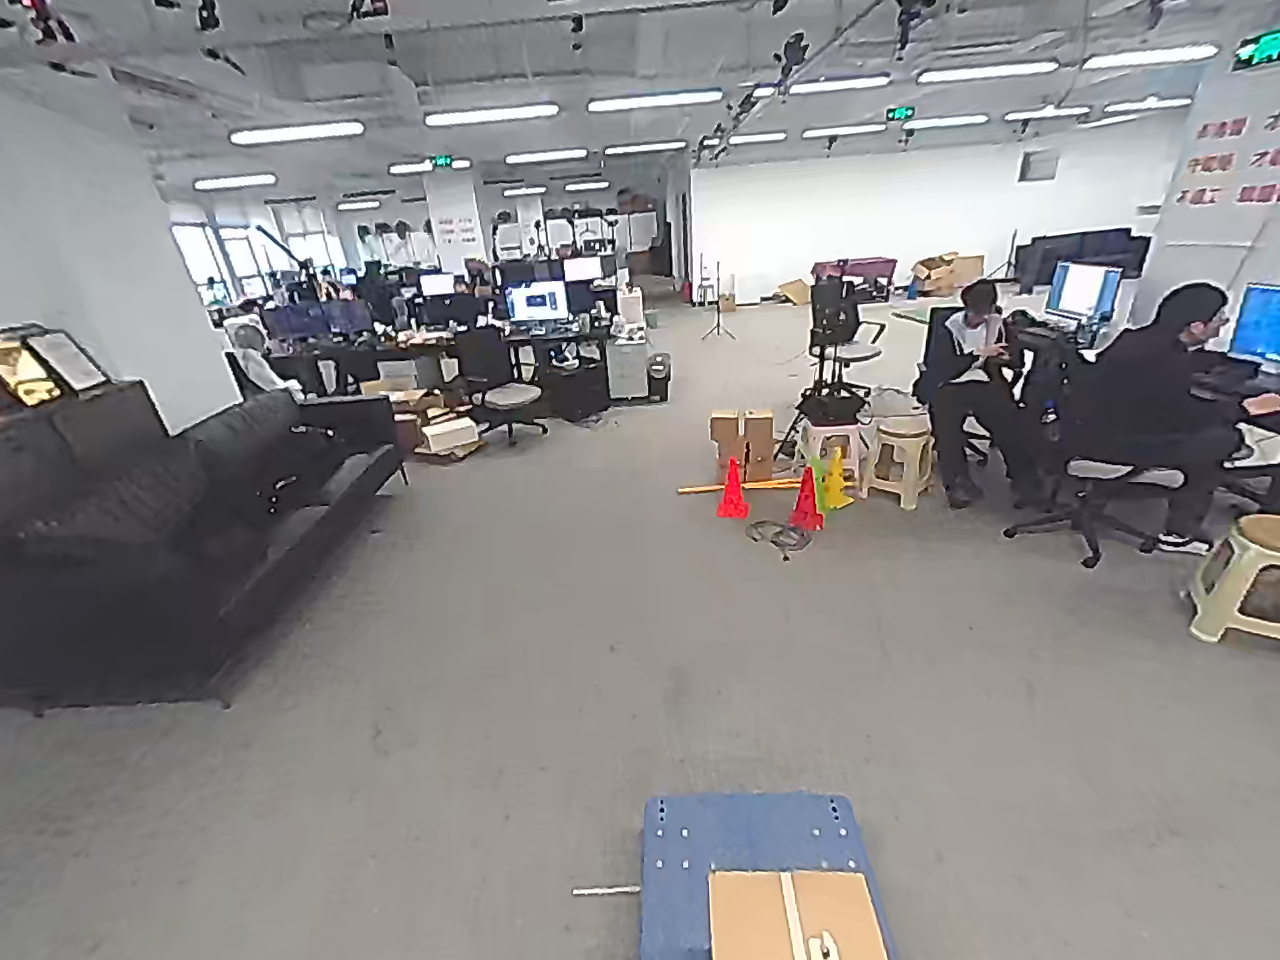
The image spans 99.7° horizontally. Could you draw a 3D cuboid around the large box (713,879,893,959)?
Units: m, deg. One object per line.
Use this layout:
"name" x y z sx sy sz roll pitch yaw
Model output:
"large box" 0.304 1.018 0.961 0.320 0.320 0.408 -3 24 5
